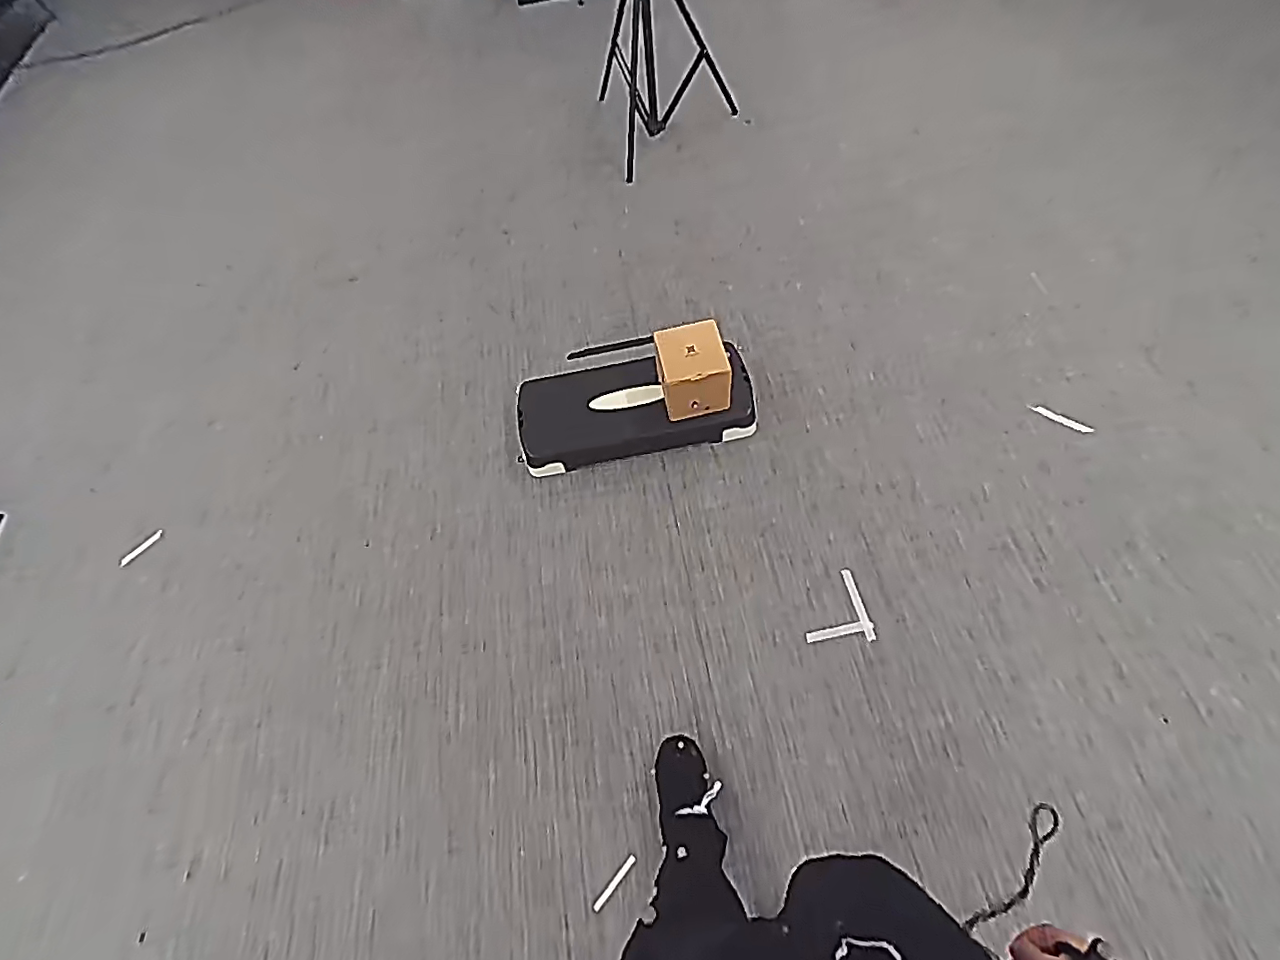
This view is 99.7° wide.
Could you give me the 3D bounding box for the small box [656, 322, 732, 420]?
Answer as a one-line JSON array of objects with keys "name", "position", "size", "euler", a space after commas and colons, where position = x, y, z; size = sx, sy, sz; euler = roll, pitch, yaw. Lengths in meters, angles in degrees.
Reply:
[{"name": "small box", "position": [0.140, -0.287, 1.438], "size": [0.168, 0.176, 0.179], "euler": [-12, 63, 0]}]
